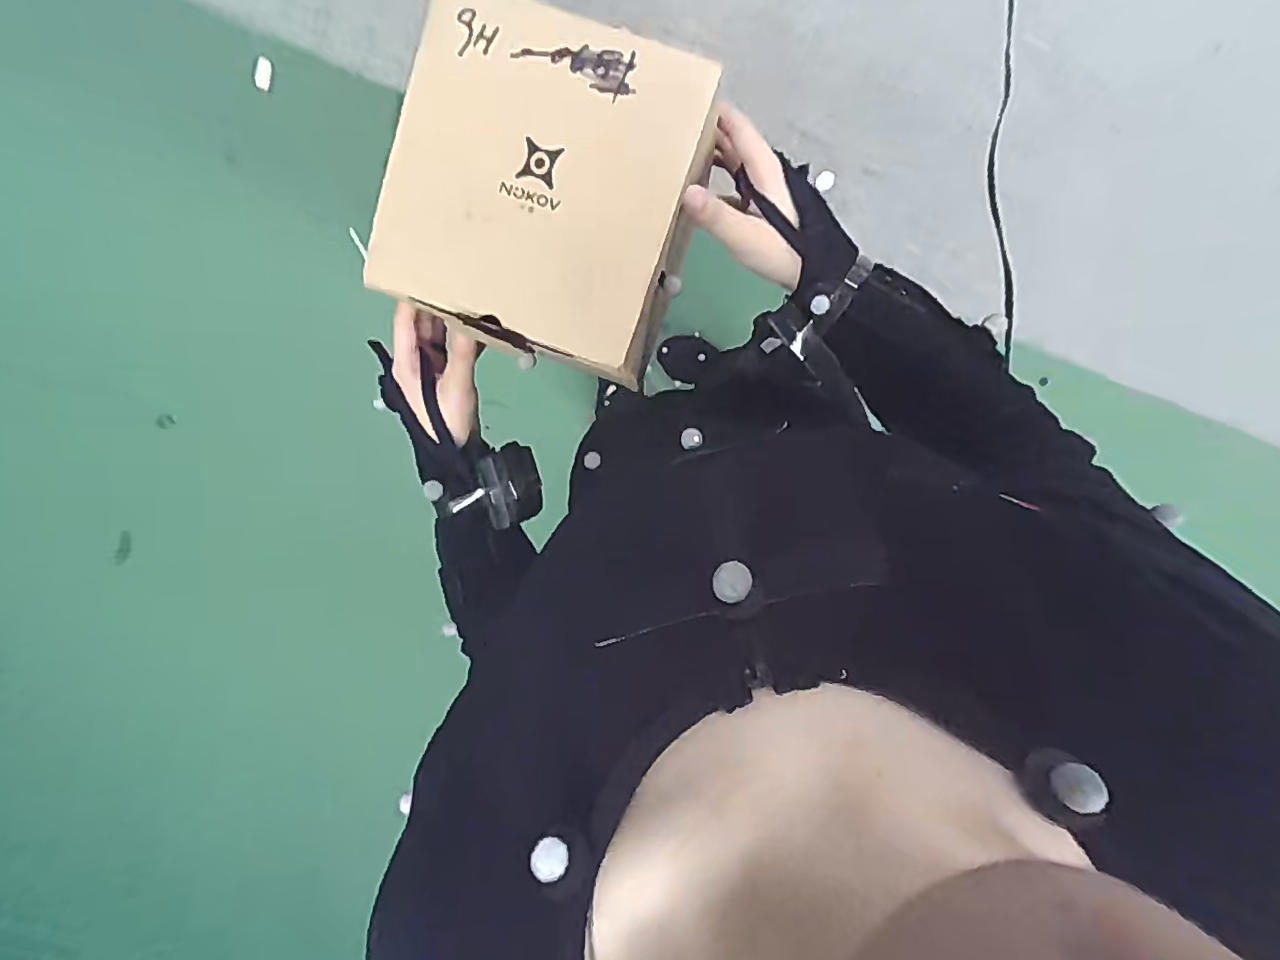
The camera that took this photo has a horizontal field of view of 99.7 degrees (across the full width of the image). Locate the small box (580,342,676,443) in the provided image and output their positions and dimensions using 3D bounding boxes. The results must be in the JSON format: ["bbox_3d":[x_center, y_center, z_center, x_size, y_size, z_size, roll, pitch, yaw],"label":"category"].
[{"bbox_3d":[-0.026,-0.205,1.280,0.179,0.176,0.168,45,98,-2],"label":"small box"}]
